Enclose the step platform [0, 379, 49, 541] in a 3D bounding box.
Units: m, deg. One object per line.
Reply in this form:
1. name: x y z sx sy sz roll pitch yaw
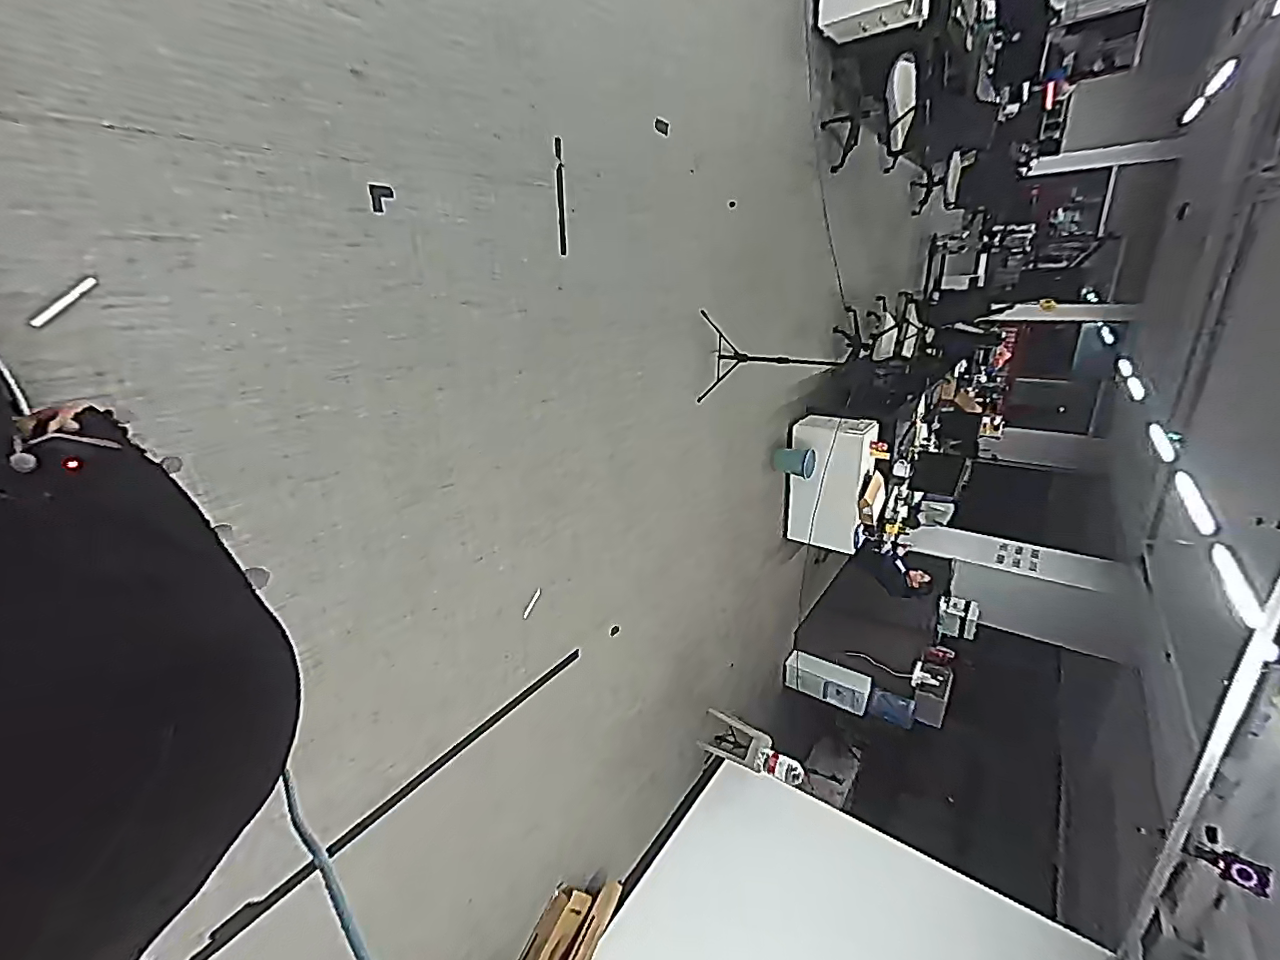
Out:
1. step platform: -1.328 0.016 0.749 0.684 0.204 0.286 -19 114 -49
